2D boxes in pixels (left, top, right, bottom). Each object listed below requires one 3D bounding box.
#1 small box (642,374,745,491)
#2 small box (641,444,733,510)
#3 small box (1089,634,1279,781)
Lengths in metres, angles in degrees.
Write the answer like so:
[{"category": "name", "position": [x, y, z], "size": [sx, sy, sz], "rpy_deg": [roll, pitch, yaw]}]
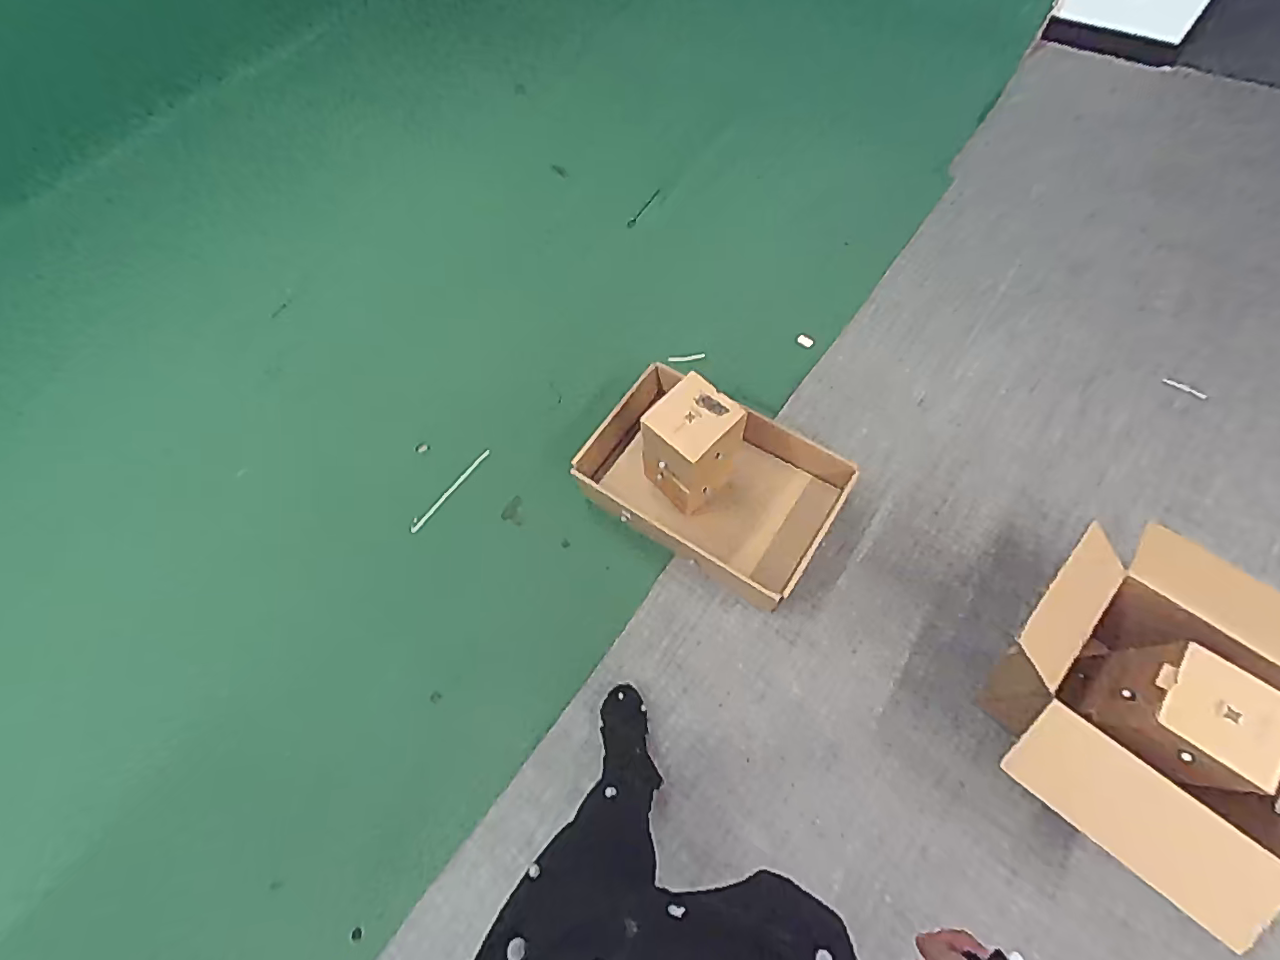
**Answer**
[{"category": "small box", "position": [0.122, -0.108, 1.276], "size": [0.168, 0.176, 0.179], "rpy_deg": [41, 75, 19]}, {"category": "small box", "position": [0.122, -0.040, 1.426], "size": [0.168, 0.176, 0.179], "rpy_deg": [-40, 70, -14]}, {"category": "small box", "position": [0.982, 0.411, 0.984], "size": [0.179, 0.176, 0.168], "rpy_deg": [35, 75, 18]}]
